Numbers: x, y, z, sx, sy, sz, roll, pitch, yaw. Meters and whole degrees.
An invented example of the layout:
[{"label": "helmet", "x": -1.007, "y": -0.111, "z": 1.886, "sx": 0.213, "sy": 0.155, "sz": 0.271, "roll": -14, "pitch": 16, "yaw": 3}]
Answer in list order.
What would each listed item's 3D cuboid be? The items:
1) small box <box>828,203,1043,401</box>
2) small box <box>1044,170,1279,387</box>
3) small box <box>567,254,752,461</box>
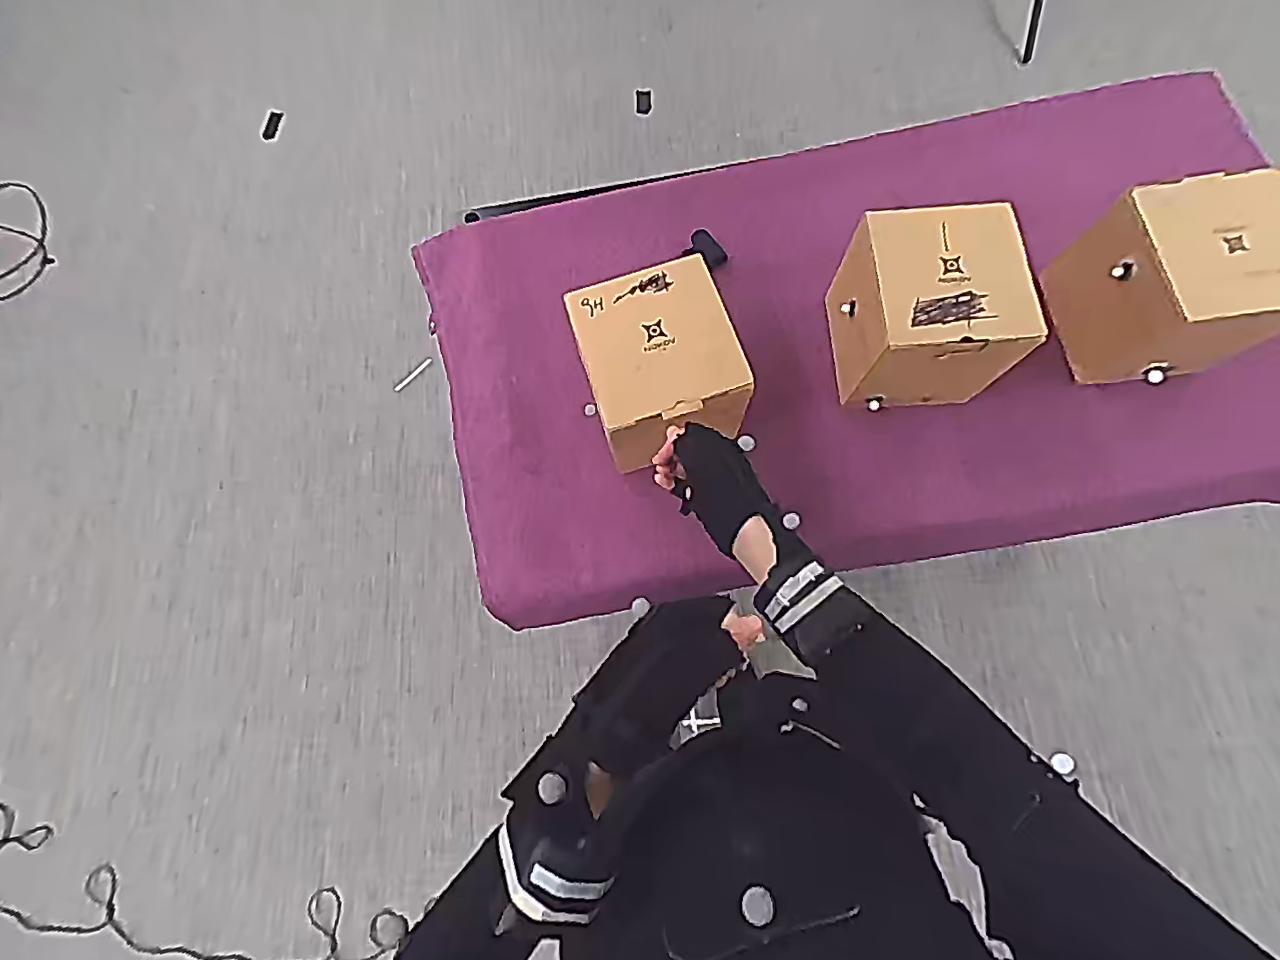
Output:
[{"label": "small box", "x": 0.345, "y": -0.205, "z": 0.670, "sx": 0.168, "sy": 0.176, "sz": 0.179, "roll": -2, "pitch": 73, "yaw": 2}, {"label": "small box", "x": 0.646, "y": -0.235, "z": 0.664, "sx": 0.168, "sy": 0.176, "sz": 0.179, "roll": -7, "pitch": 74, "yaw": 3}, {"label": "small box", "x": 0.023, "y": -0.135, "z": 0.667, "sx": 0.168, "sy": 0.176, "sz": 0.179, "roll": -17, "pitch": 75, "yaw": -2}]
